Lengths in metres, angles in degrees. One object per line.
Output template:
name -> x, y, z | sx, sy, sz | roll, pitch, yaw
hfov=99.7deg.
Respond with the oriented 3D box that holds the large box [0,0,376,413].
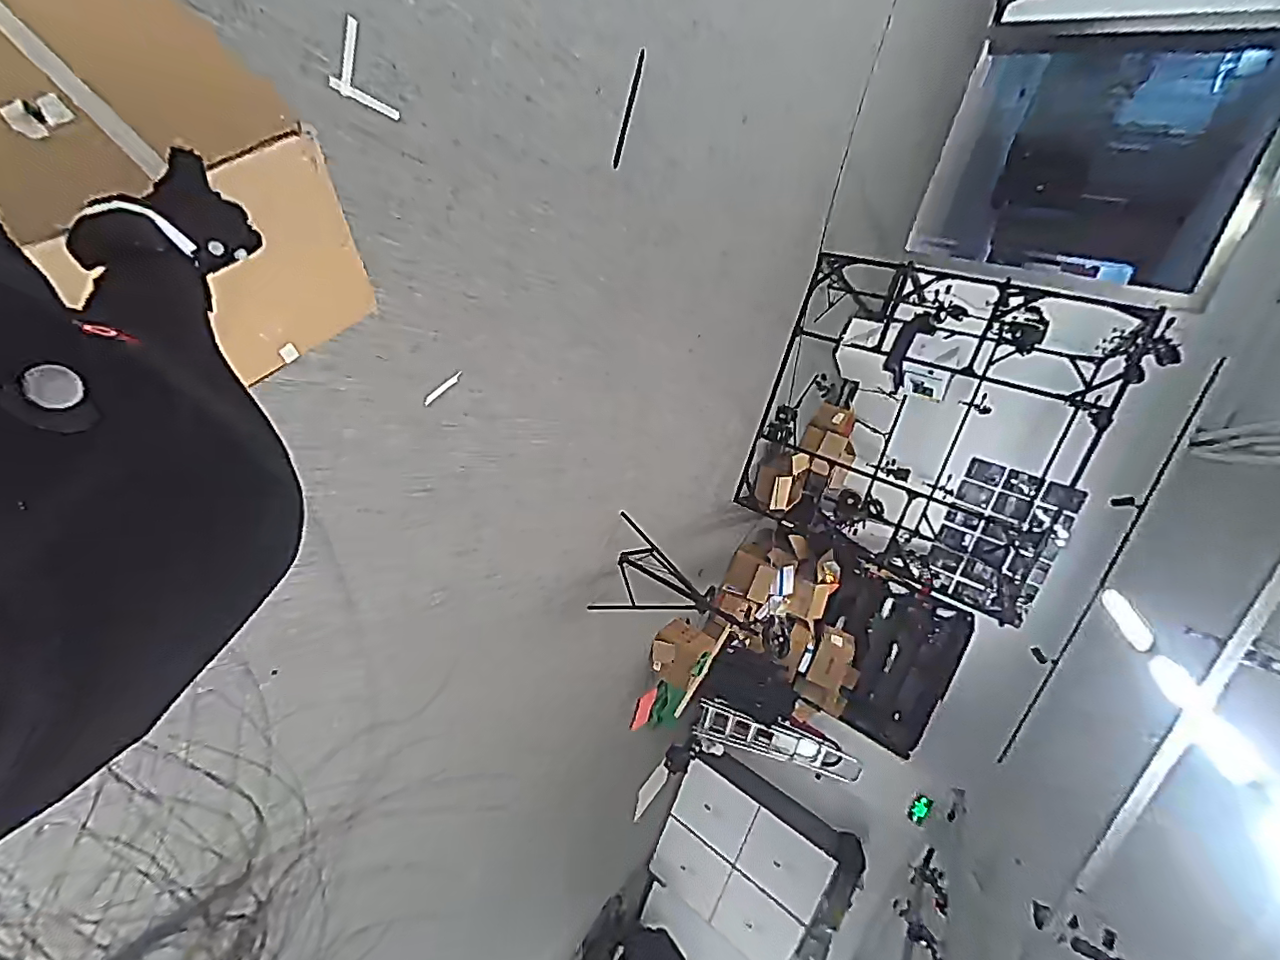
large box -> -0.637, -0.370, 0.708 | 0.320, 0.408, 0.320 | -45, 175, -22
